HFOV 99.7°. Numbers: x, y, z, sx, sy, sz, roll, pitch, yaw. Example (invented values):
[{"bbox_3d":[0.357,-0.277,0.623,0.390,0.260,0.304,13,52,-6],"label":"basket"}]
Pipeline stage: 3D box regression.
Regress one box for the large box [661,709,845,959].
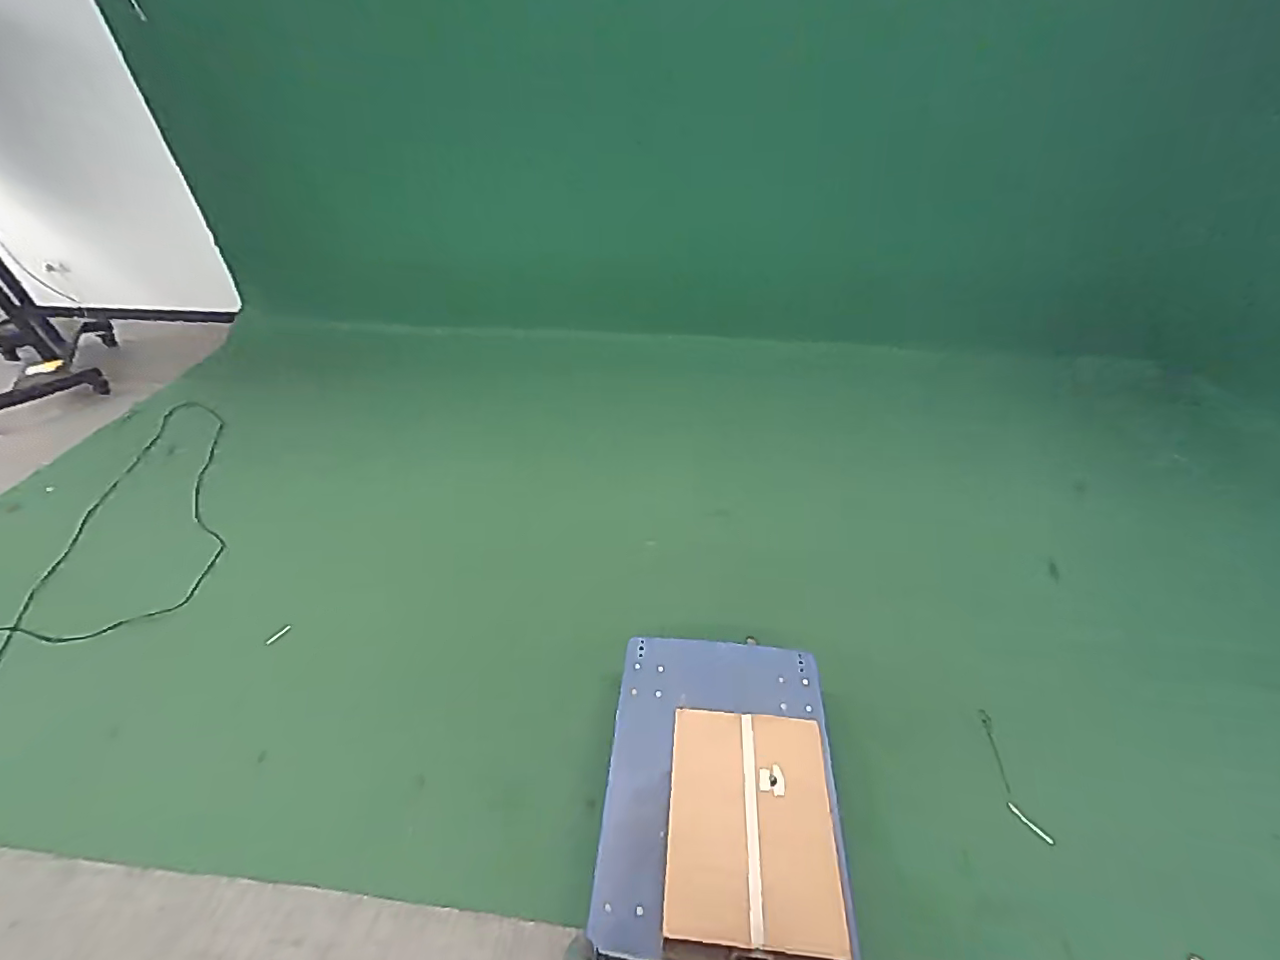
[{"bbox_3d":[0.207,0.763,1.146,0.320,0.320,0.408,4,40,4],"label":"large box"}]
